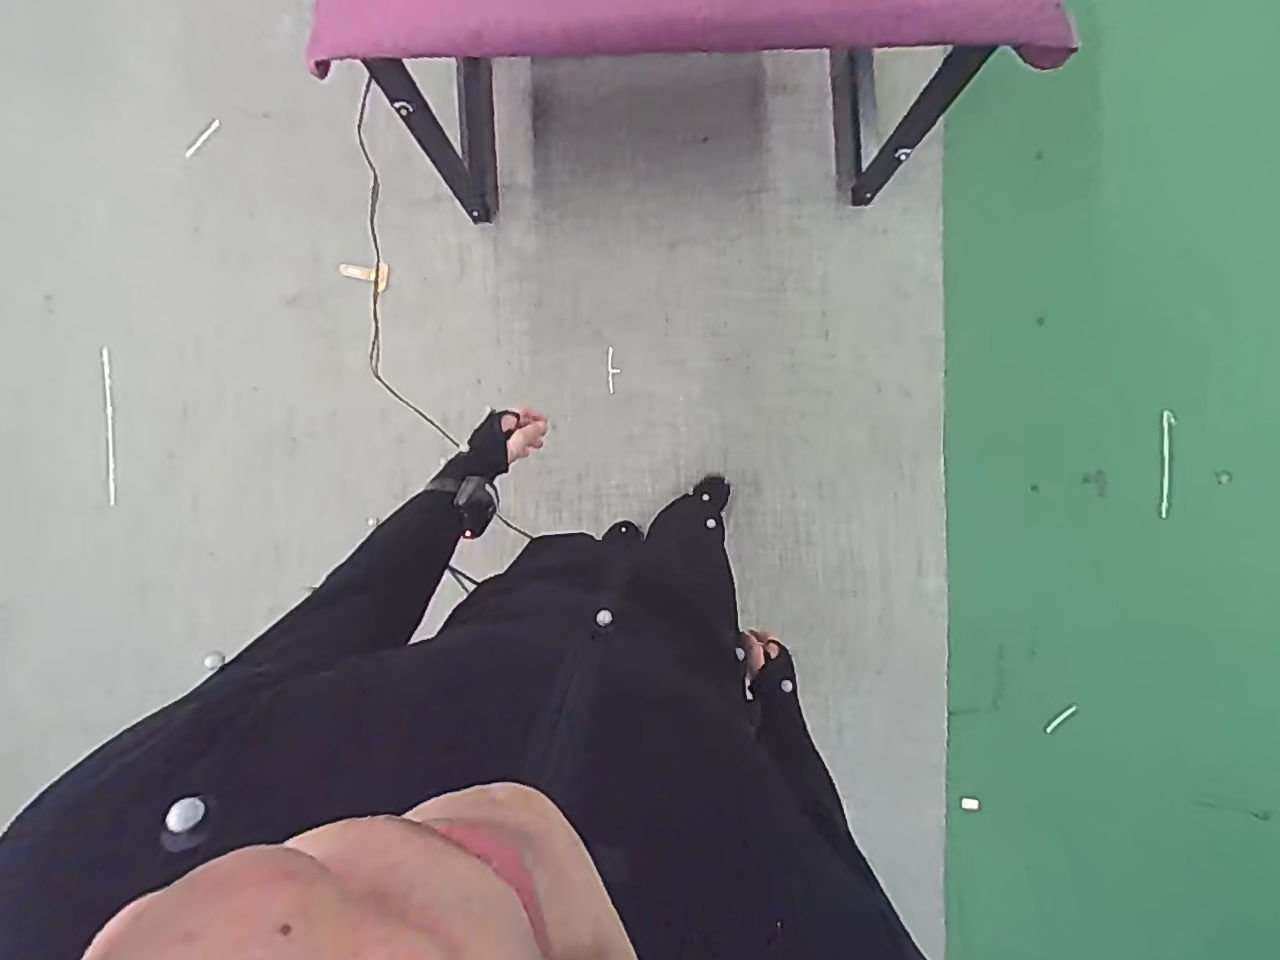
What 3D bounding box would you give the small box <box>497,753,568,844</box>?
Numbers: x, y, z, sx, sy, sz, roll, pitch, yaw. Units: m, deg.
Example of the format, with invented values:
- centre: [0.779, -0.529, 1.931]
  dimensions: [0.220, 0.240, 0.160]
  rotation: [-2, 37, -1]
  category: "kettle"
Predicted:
- centre: [-0.301, 0.905, 1.548]
  dimensions: [0.179, 0.176, 0.168]
  rotation: [-2, 91, 1]
  category: "small box"
